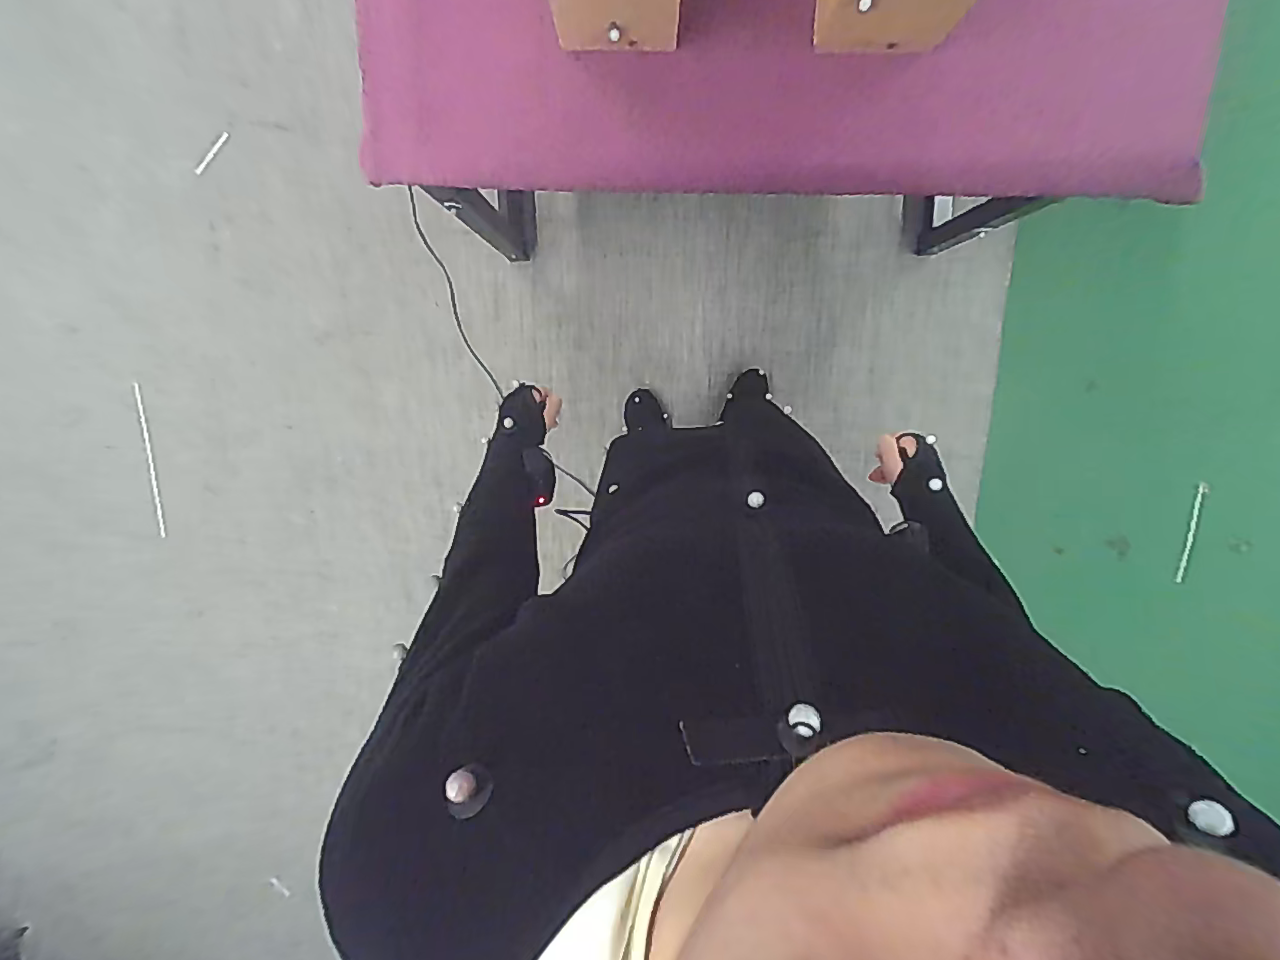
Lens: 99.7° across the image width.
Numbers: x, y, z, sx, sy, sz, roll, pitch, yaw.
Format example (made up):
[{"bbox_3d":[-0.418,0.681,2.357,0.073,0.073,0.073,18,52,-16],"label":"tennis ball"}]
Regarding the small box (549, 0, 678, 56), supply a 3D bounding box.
[{"bbox_3d":[-0.033,-0.674,0.668,0.168,0.176,0.179,2,101,1],"label":"small box"}]
